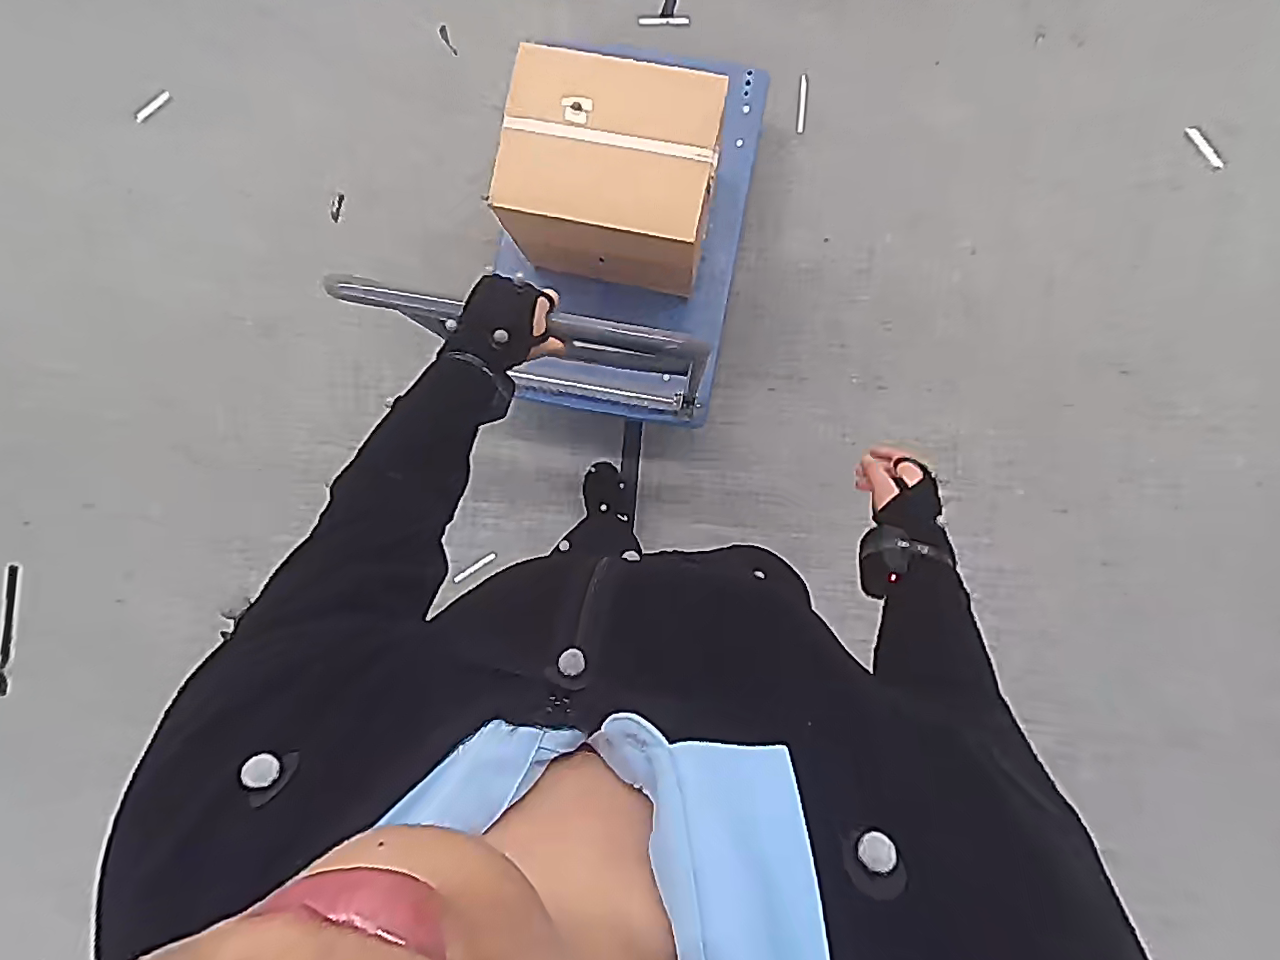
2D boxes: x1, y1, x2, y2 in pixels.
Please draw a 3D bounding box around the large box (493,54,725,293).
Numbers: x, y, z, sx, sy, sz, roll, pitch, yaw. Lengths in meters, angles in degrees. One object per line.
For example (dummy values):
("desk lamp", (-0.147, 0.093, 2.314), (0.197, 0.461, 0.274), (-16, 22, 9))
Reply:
("large box", (-0.048, -0.633, 1.172), (0.408, 0.320, 0.320), (12, 90, 5))
